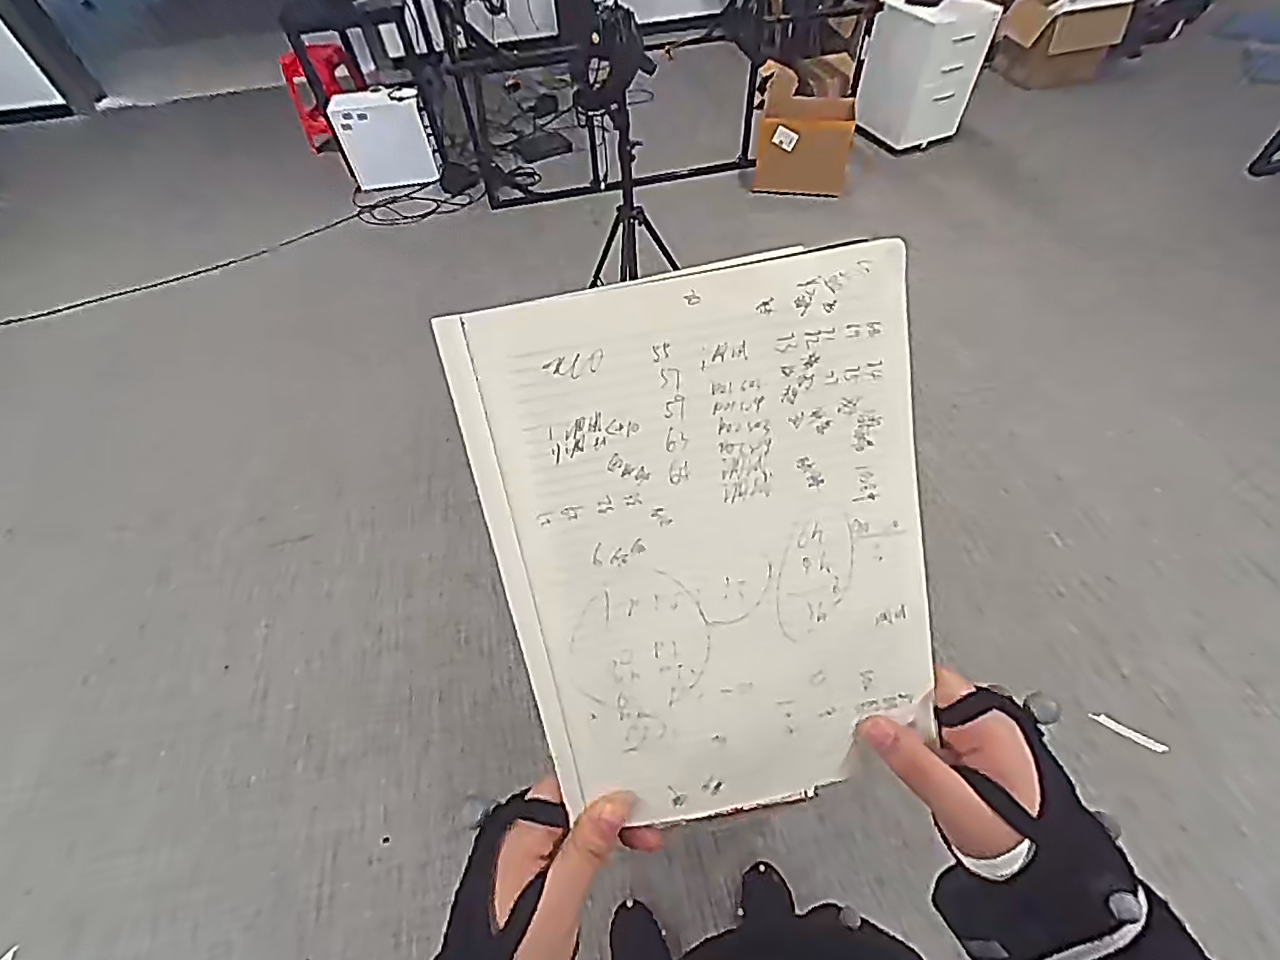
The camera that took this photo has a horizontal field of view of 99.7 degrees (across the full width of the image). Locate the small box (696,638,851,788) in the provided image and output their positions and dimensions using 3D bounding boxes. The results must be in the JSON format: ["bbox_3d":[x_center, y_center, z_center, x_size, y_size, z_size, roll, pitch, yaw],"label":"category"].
[{"bbox_3d":[0.198,0.372,0.857,0.179,0.176,0.168,-12,56,-7],"label":"small box"}]

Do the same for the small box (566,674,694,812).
[{"bbox_3d":[-0.015,0.412,0.839,0.179,0.176,0.168,-7,56,1],"label":"small box"}]
